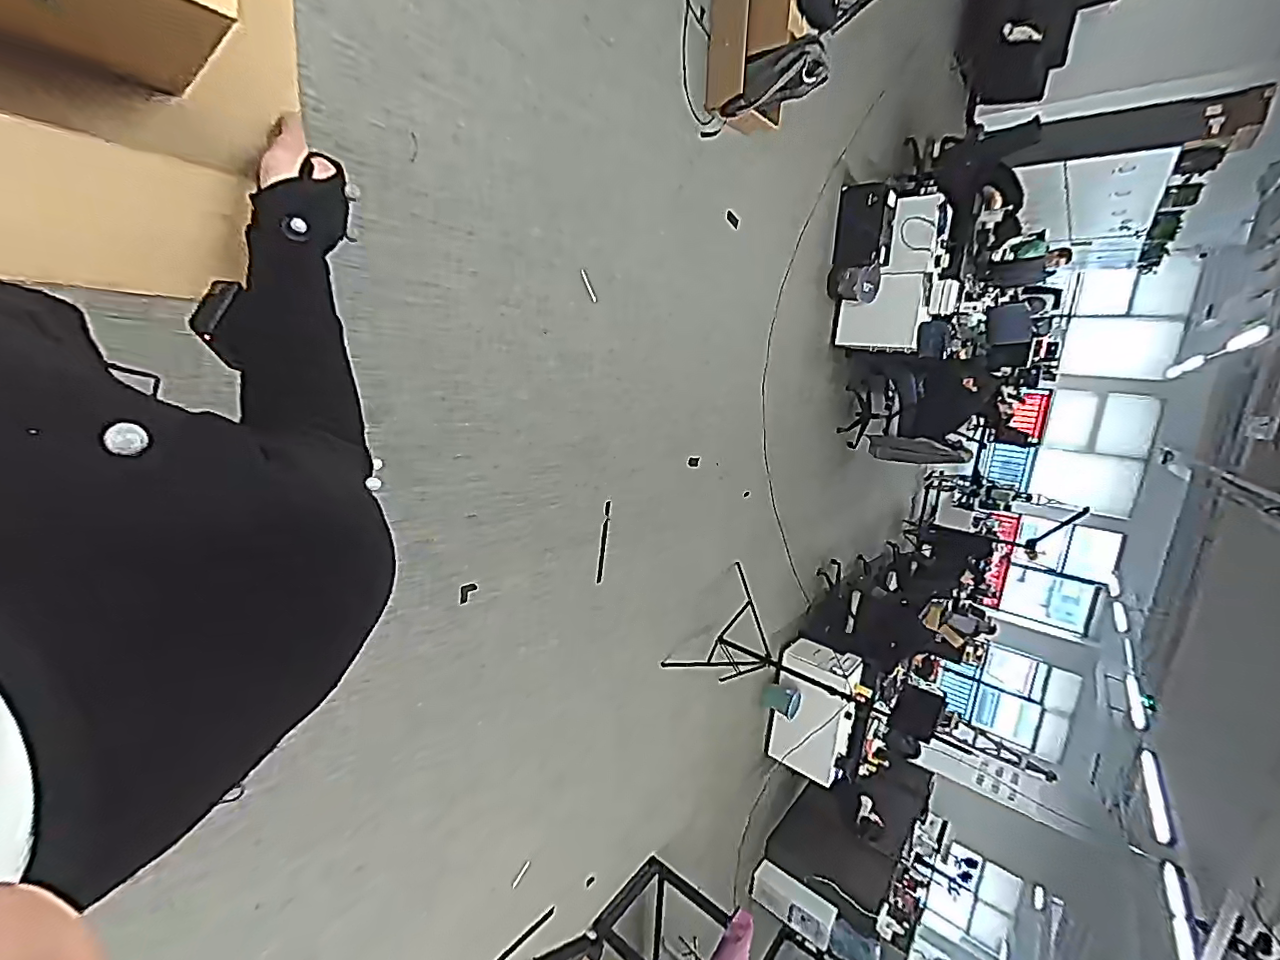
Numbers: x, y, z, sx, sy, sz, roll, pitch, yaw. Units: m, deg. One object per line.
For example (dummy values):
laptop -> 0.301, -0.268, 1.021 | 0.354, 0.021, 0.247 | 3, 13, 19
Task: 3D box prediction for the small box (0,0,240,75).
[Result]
small box -> -0.383, -0.393, 0.338 | 0.179, 0.176, 0.168 | -9, 107, -48
